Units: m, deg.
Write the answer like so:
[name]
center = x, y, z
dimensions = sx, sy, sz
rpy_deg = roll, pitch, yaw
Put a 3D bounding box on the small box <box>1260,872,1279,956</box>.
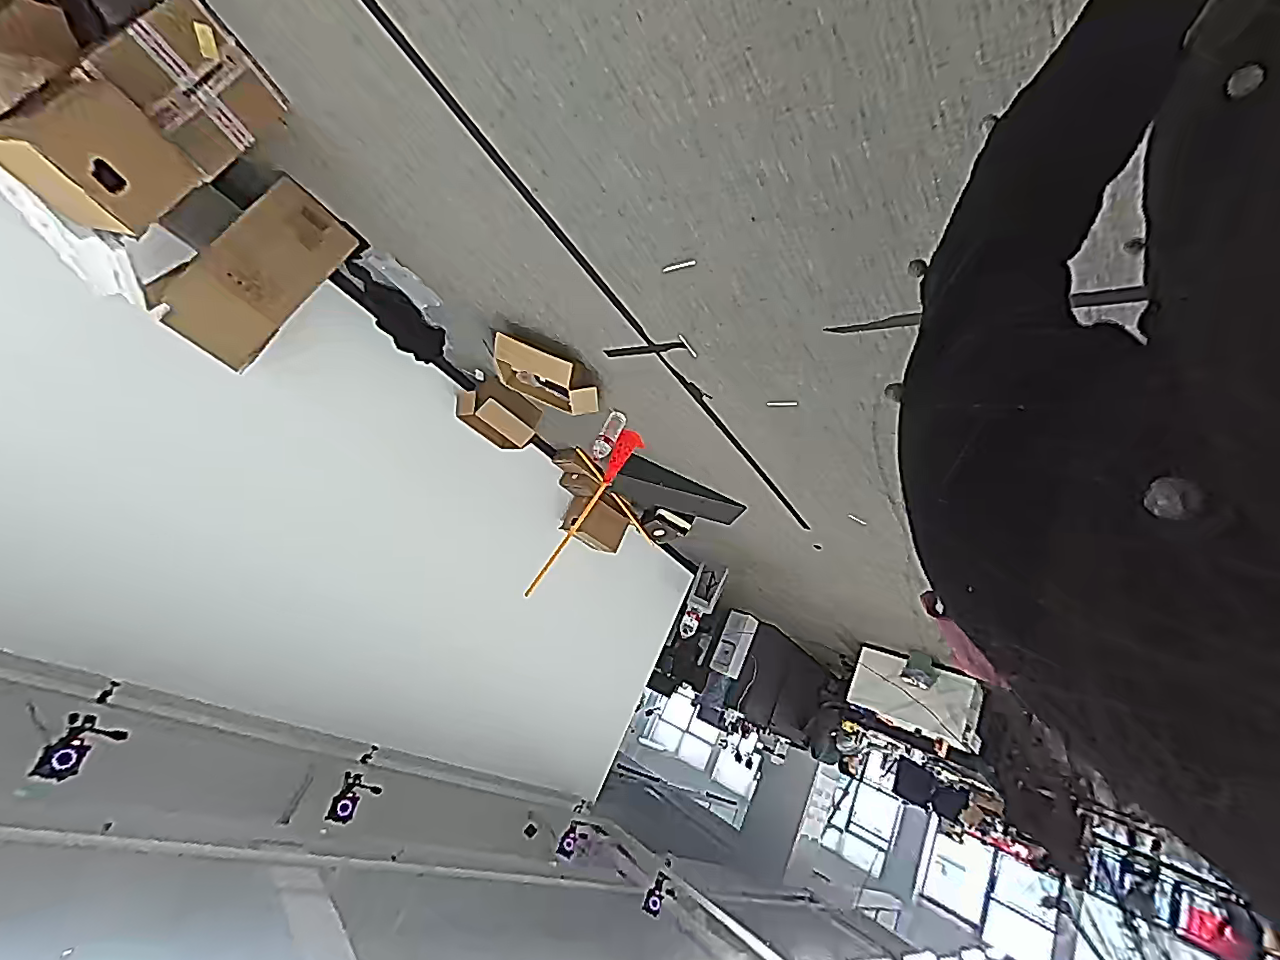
[small box]
center = 1.547, 1.023, 1.221
dimensions = 0.168, 0.176, 0.179
rpy_deg = 8, 153, 44
